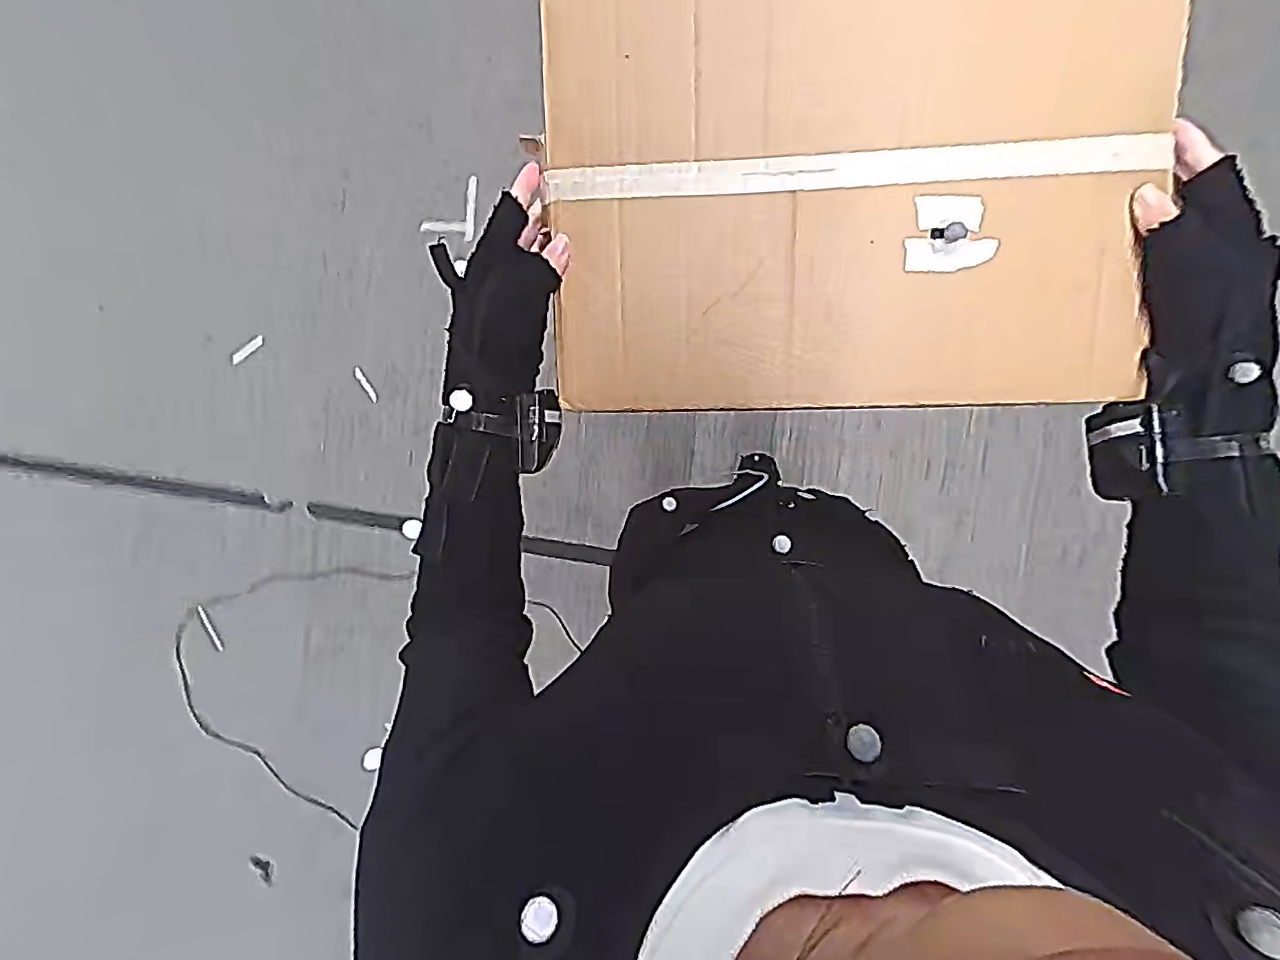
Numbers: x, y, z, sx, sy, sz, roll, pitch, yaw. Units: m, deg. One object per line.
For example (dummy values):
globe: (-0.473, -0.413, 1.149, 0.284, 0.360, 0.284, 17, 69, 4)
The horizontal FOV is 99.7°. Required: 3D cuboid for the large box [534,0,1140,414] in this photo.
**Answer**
large box: (0.138, -0.234, 0.525, 0.408, 0.320, 0.320, -2, 99, 3)
